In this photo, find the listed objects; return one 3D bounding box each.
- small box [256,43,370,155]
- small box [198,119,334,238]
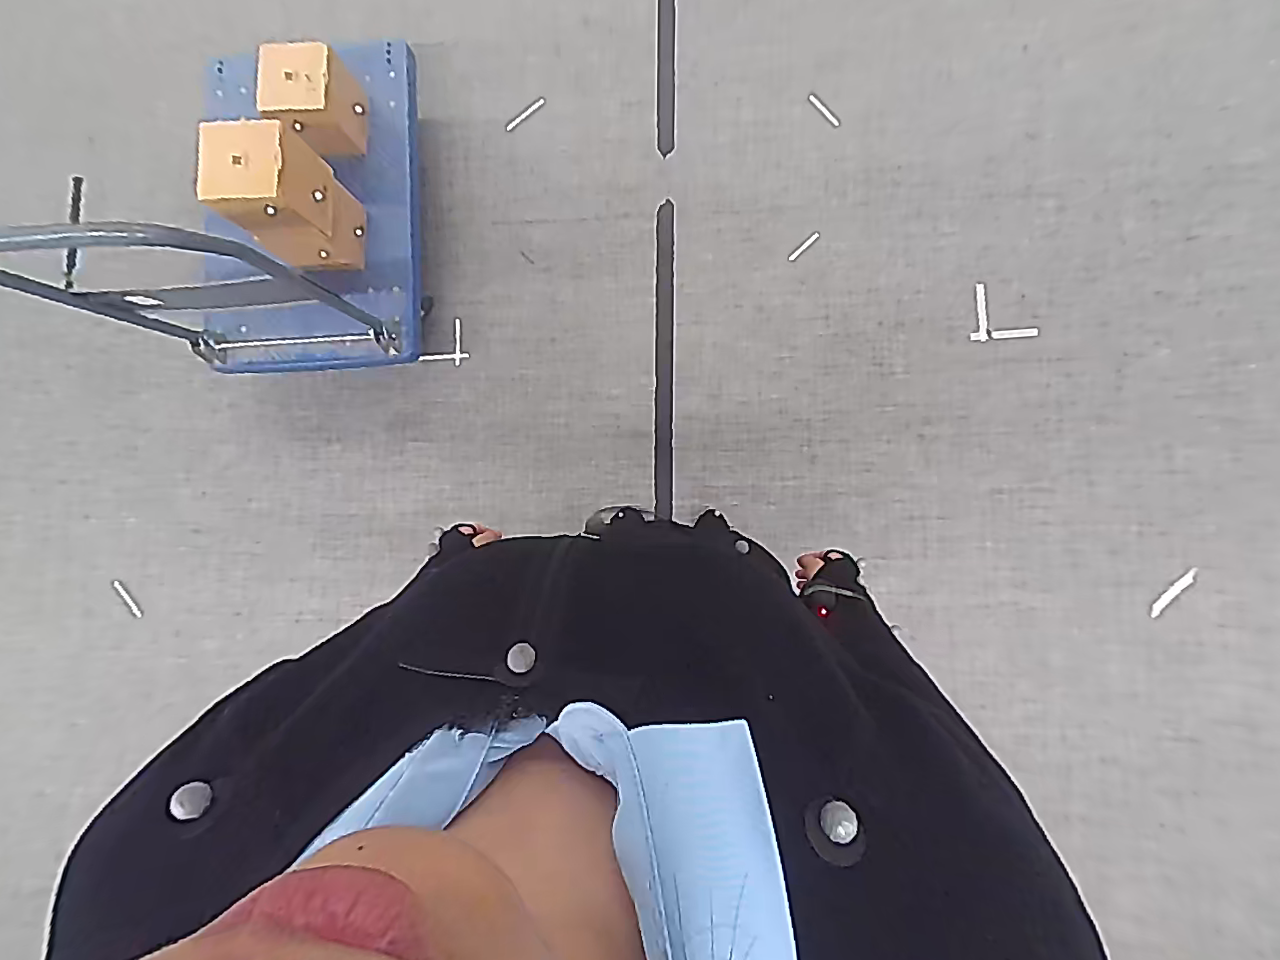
[{"bbox_3d":[-0.809,-0.941,1.348,0.179,0.176,0.168,2,88,4],"label":"small box"},{"bbox_3d":[-0.802,-0.642,1.170,0.179,0.176,0.168,0,87,3],"label":"small box"}]
